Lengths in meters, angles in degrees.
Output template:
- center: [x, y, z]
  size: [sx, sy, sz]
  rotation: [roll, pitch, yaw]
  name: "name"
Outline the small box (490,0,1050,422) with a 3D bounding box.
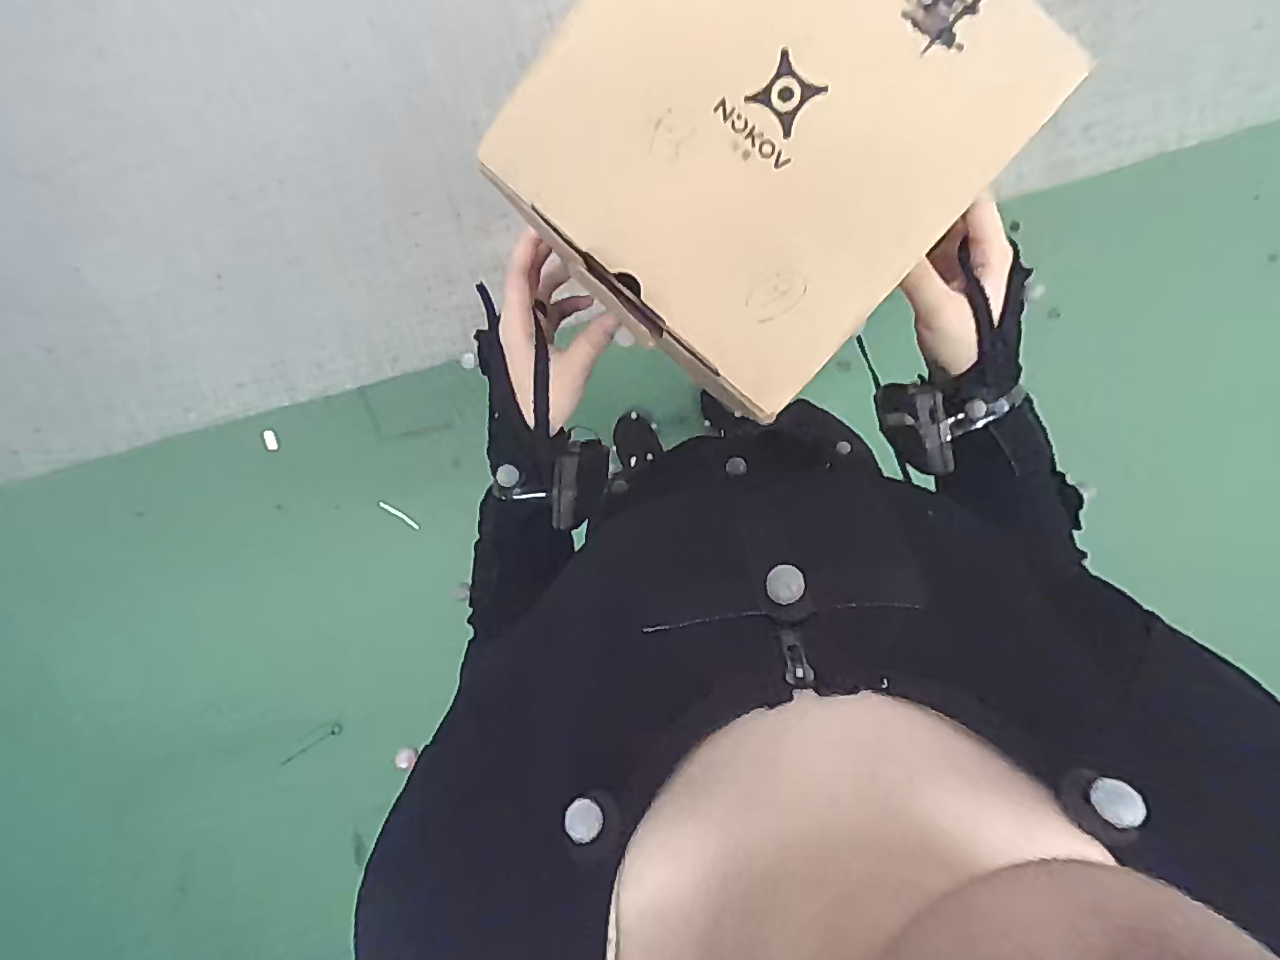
- center: [0.055, -0.153, 0.304]
  size: [0.168, 0.176, 0.179]
  rotation: [41, 100, -3]
  name: "small box"
